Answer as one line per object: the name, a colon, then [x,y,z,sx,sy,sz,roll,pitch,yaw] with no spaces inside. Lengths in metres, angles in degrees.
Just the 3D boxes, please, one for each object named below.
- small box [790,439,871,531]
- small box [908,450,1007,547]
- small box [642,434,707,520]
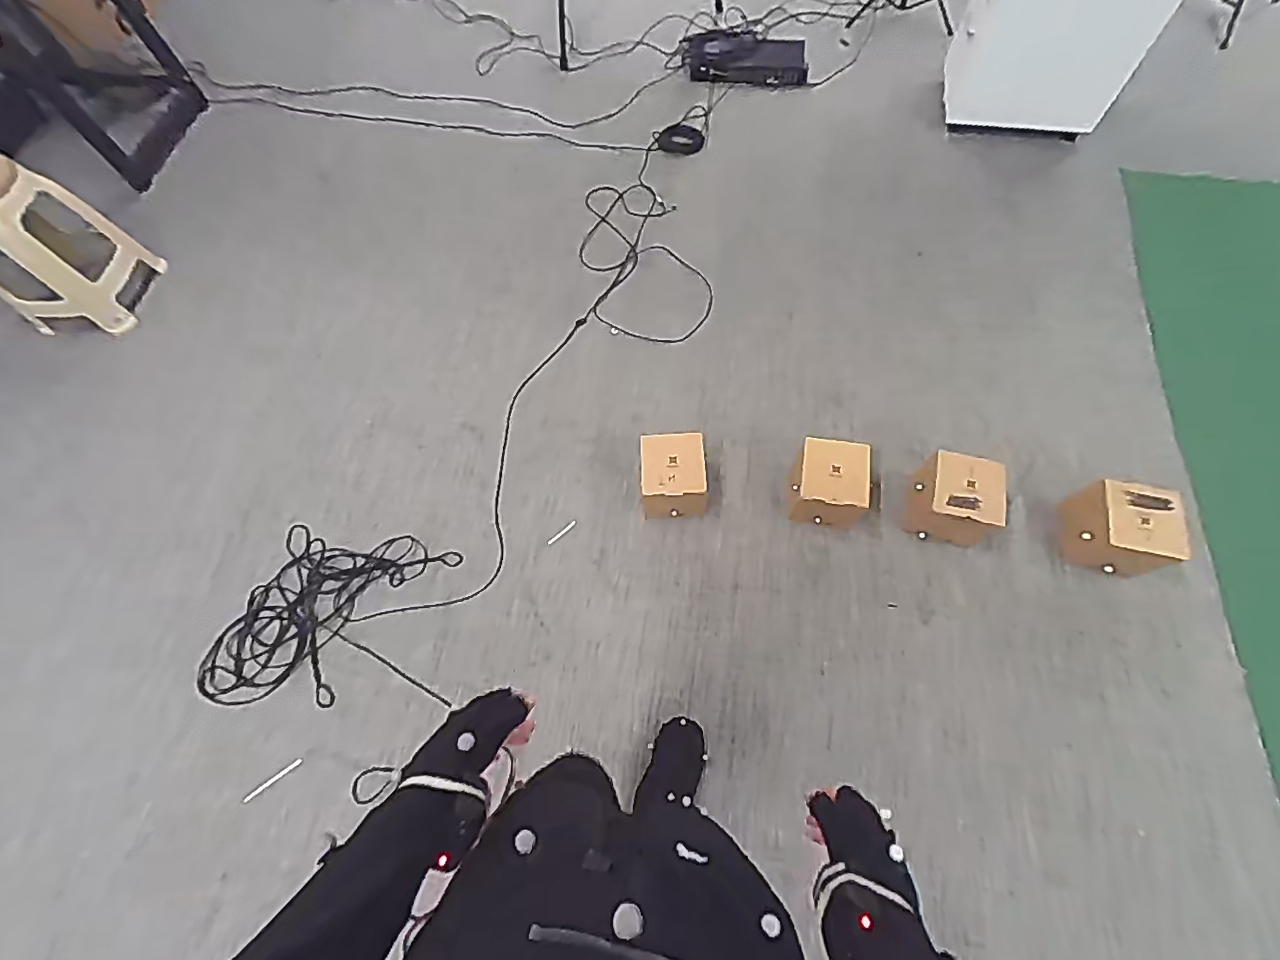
small box: [0.494,0.015,1.420,0.168,0.176,0.179,8,66,8]
small box: [0.804,0.053,1.381,0.168,0.176,0.179,14,66,9]
small box: [0.090,-0.004,1.455,0.168,0.176,0.179,-3,65,3]
